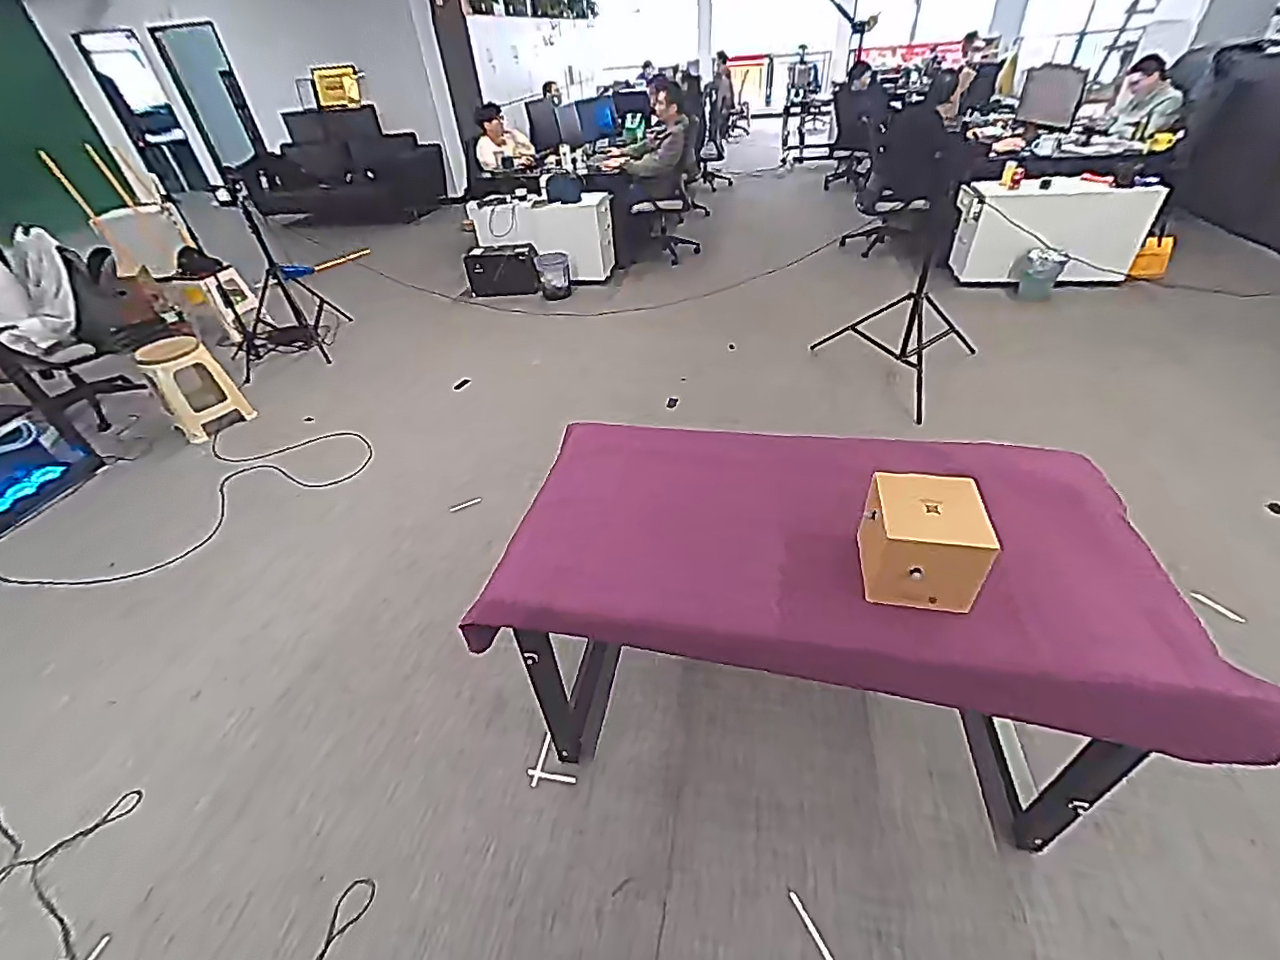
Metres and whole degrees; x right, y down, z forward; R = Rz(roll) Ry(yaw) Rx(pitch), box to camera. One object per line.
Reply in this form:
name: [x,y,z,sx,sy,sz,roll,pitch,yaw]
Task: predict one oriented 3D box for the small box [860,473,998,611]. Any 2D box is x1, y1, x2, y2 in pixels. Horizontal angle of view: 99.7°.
small box: [0.496,0.109,0.958,0.168,0.176,0.179,4,39,12]
